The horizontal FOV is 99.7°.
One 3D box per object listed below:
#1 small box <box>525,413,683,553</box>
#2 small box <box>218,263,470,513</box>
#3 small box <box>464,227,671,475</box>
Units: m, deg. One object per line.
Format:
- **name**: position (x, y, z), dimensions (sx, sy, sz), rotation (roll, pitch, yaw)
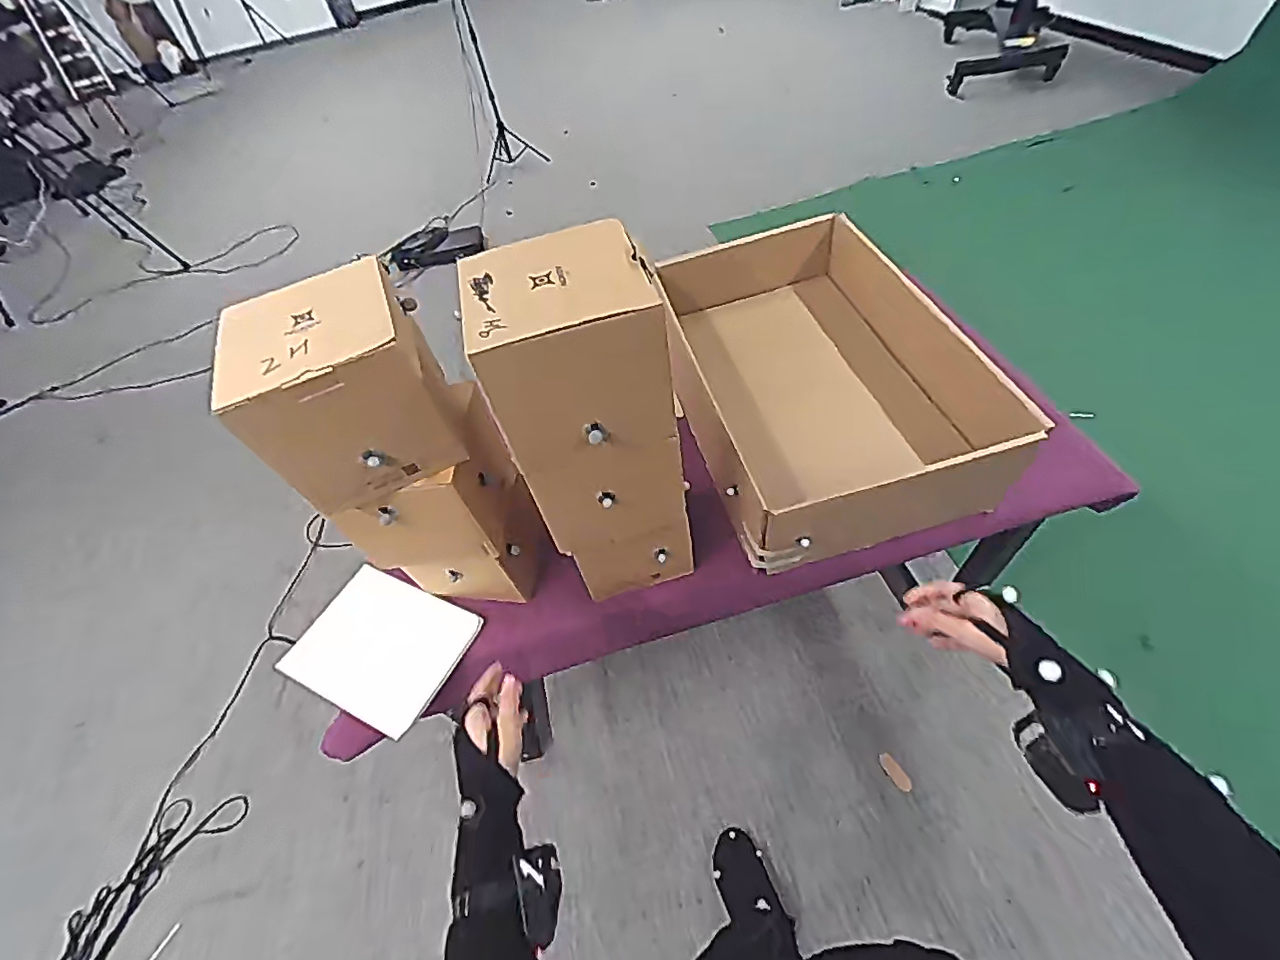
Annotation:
- **small box**: position (-0.047, -0.031, 0.697), dimensions (0.179, 0.176, 0.168), rotation (-16, 51, -2)
- **small box**: position (-0.306, -0.097, 0.586), dimensions (0.168, 0.176, 0.179), rotation (-24, 53, -7)
- **small box**: position (-0.069, -0.132, 0.569), dimensions (0.179, 0.176, 0.168), rotation (-15, 50, -3)
